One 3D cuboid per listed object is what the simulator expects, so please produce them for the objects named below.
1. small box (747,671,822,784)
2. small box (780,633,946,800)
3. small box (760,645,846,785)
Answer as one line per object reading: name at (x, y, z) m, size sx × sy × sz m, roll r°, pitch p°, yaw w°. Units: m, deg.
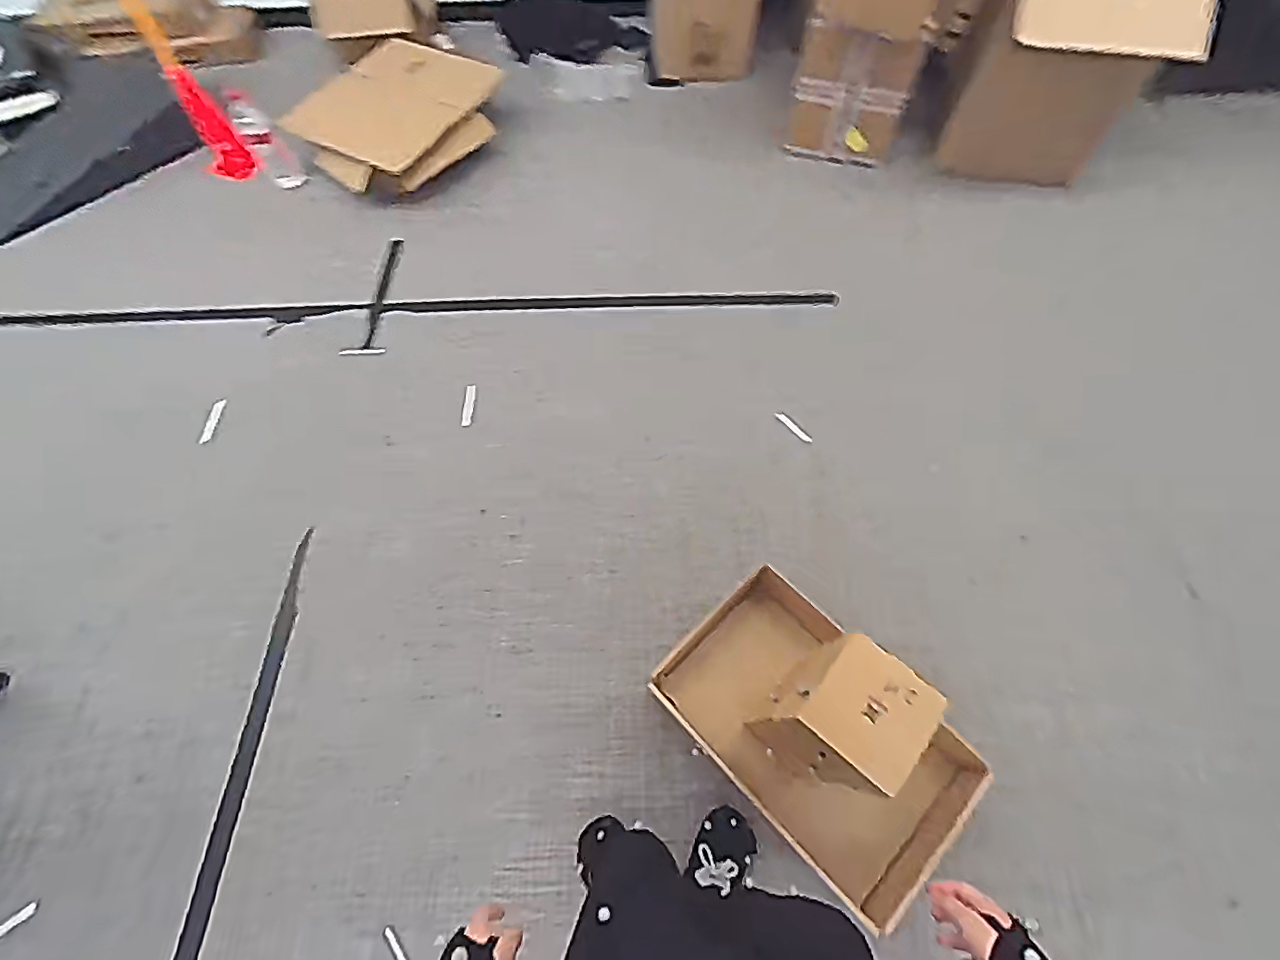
small box at (0.355, 0.528, 1.184) m, size 0.179 × 0.176 × 0.168 m, roll -41°, pitch 70°, yaw -16°
small box at (0.351, 0.384, 0.890) m, size 0.168 × 0.176 × 0.179 m, roll 39°, pitch 71°, yaw 16°
small box at (0.350, 0.451, 1.042) m, size 0.168 × 0.176 × 0.179 m, roll 39°, pitch 69°, yaw 16°
